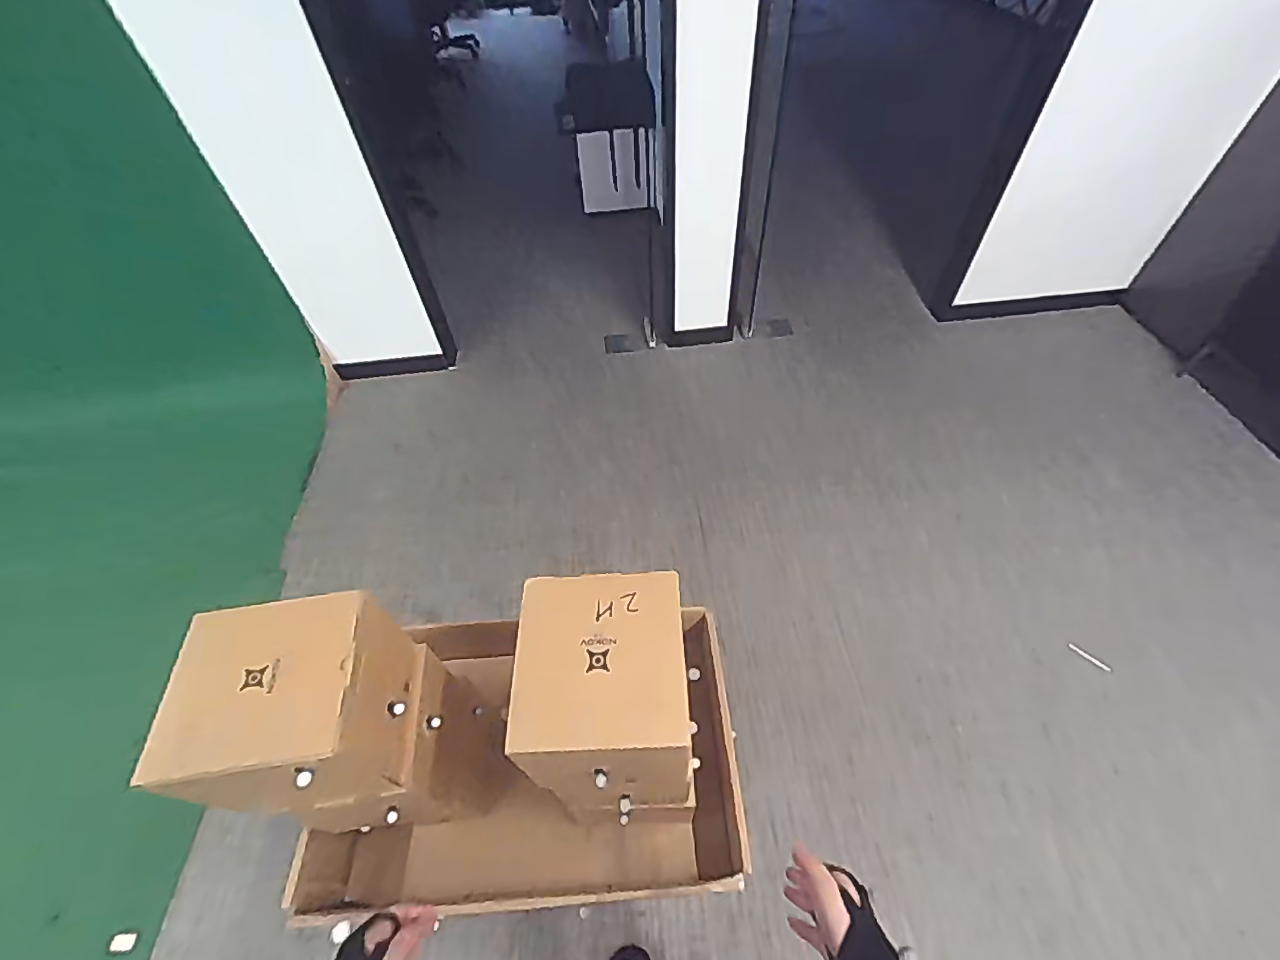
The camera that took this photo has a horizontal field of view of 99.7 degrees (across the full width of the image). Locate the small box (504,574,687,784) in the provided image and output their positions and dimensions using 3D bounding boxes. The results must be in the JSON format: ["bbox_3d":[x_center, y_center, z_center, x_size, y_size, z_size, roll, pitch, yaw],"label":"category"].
[{"bbox_3d":[-0.035,0.219,0.583,0.168,0.176,0.179,-2,51,1],"label":"small box"}]

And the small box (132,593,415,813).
[{"bbox_3d":[-0.367,0.244,0.587,0.179,0.176,0.168,-7,52,-5],"label":"small box"}]

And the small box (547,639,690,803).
[{"bbox_3d":[-0.021,0.319,0.714,0.168,0.176,0.179,-2,52,1],"label":"small box"}]

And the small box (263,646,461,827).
[{"bbox_3d":[-0.345,0.344,0.714,0.168,0.176,0.179,-7,51,-3],"label":"small box"}]
